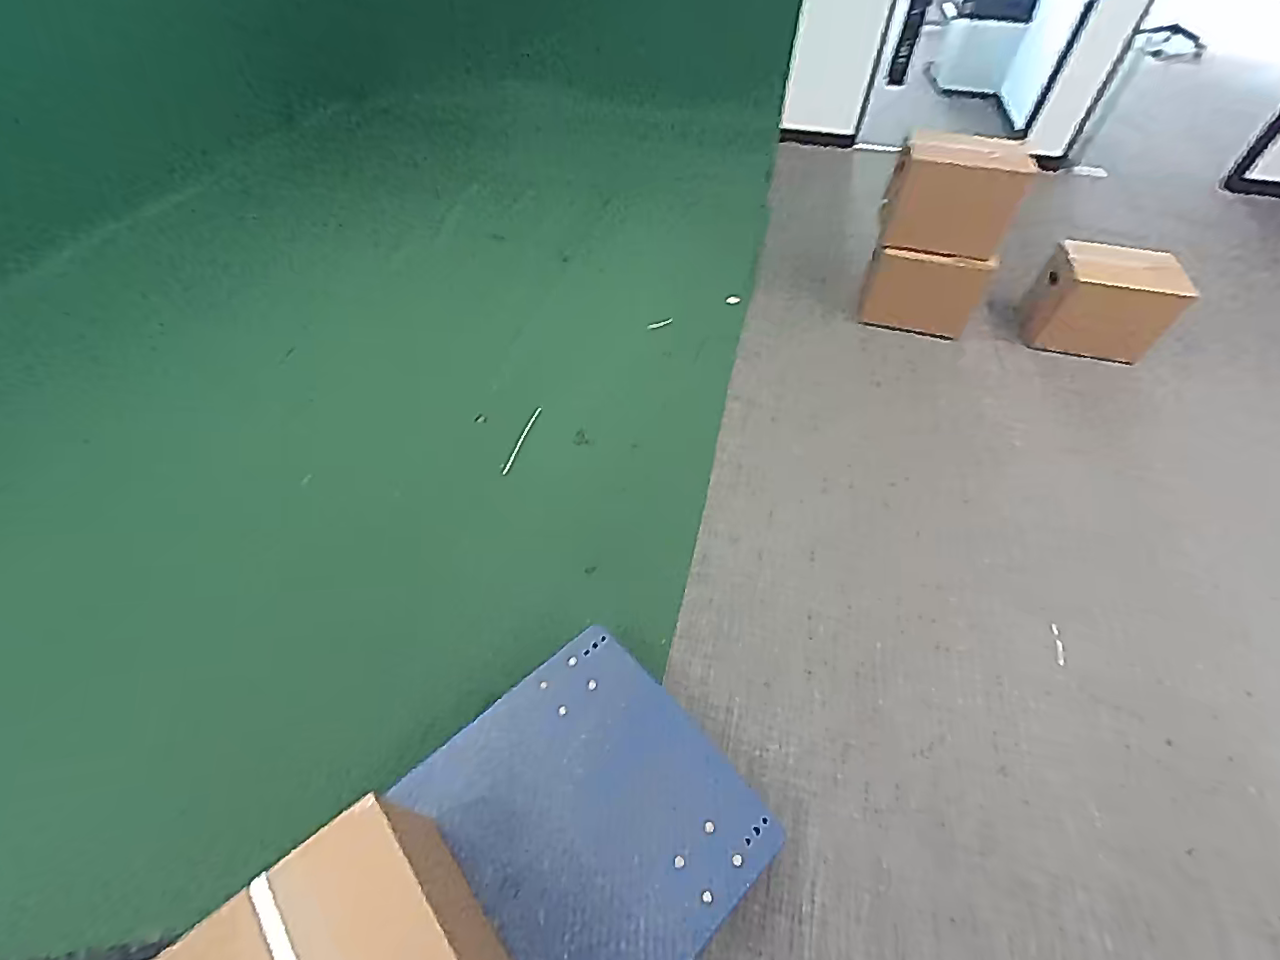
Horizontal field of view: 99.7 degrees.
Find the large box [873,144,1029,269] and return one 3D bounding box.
[{"bbox_3d":[1.145,-1.037,2.047,0.408,0.320,0.320,13,48,8],"label":"large box"}]
